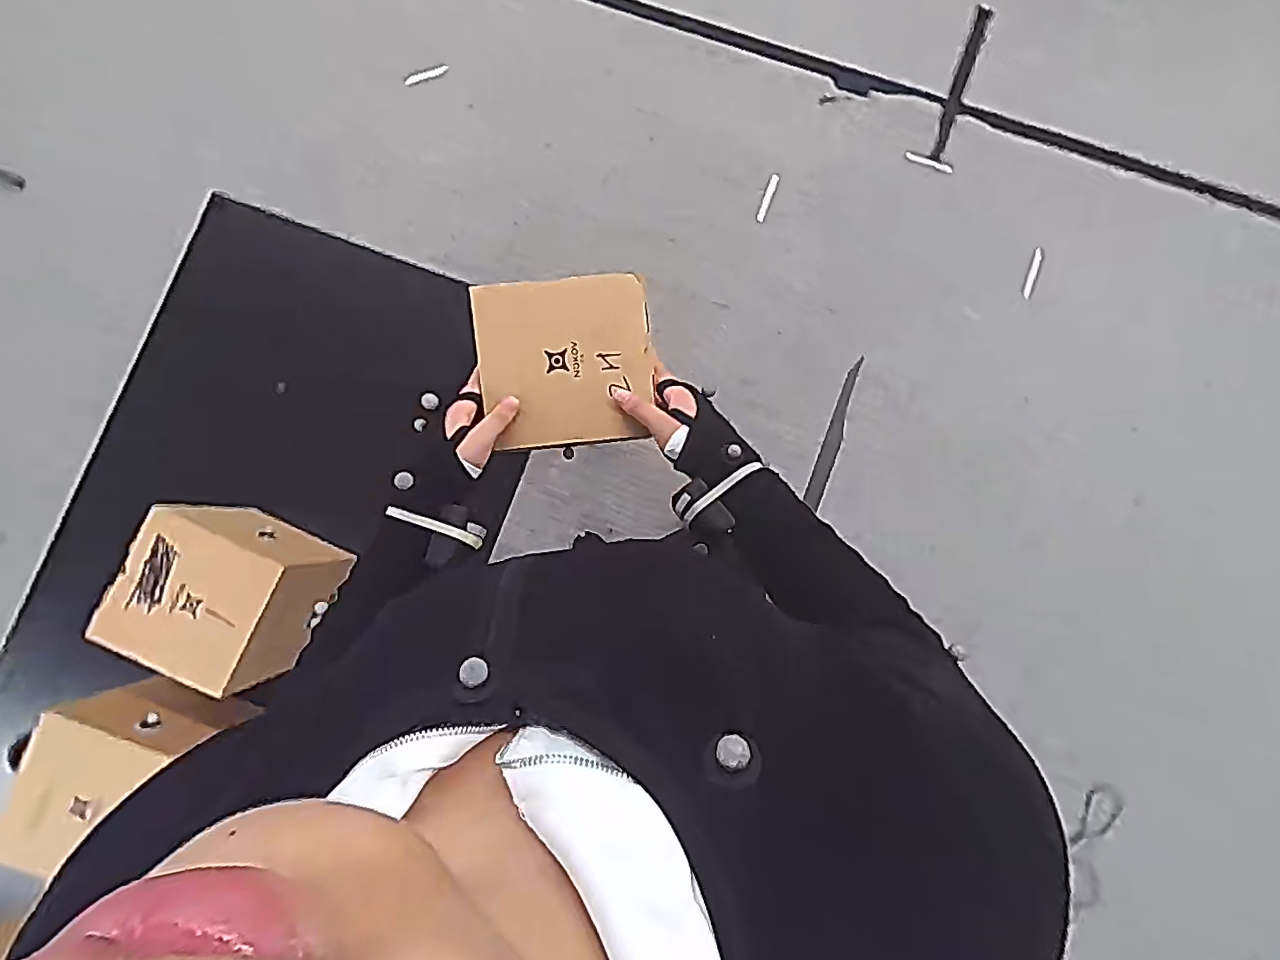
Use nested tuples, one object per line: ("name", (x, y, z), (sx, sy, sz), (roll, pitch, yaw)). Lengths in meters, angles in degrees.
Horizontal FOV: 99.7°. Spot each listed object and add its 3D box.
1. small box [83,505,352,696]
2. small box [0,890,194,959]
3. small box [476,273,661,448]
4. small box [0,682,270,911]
("small box", (-0.520, 0.145, 0.695), (0.179, 0.176, 0.168), (24, 85, 1))
("small box", (-0.698, 0.622, 0.651), (0.168, 0.176, 0.179), (18, 84, 1))
("small box", (-0.074, -0.124, 0.621), (0.179, 0.176, 0.168), (-5, 94, -3))
("small box", (-0.617, 0.374, 0.676), (0.179, 0.176, 0.168), (19, 84, 2))
